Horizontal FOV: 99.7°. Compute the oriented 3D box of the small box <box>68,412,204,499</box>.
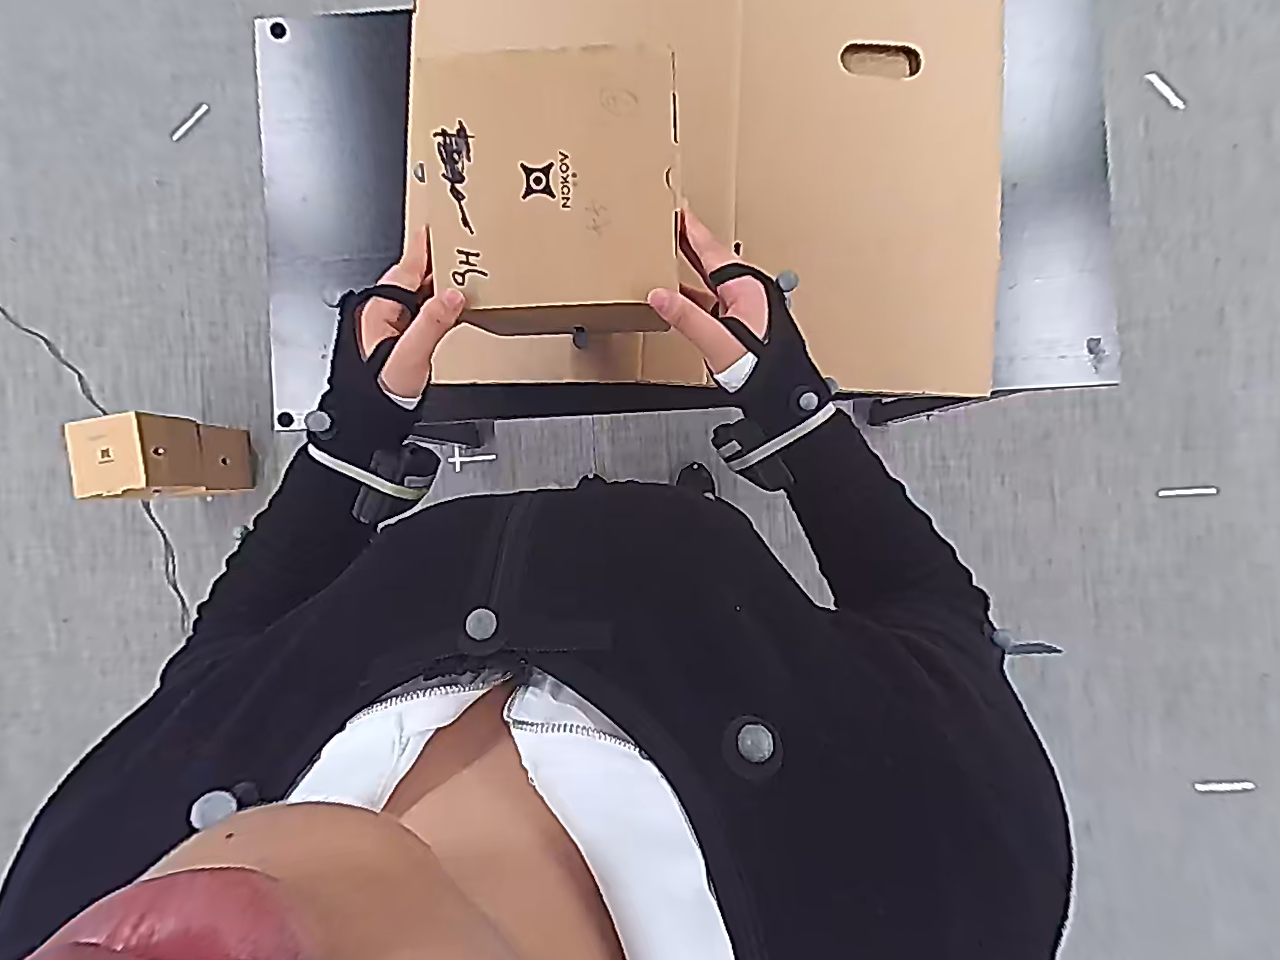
[{"bbox_3d":[-1.189,-0.055,1.290,0.168,0.176,0.179,-10,88,1],"label":"small box"}]

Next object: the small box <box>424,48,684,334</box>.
[{"bbox_3d":[-0.059,-0.219,0.454,0.179,0.176,0.168,-2,97,0],"label":"small box"}]

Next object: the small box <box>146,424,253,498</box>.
[{"bbox_3d":[-1.185,-0.048,1.453,0.168,0.176,0.179,-7,90,1],"label":"small box"}]
